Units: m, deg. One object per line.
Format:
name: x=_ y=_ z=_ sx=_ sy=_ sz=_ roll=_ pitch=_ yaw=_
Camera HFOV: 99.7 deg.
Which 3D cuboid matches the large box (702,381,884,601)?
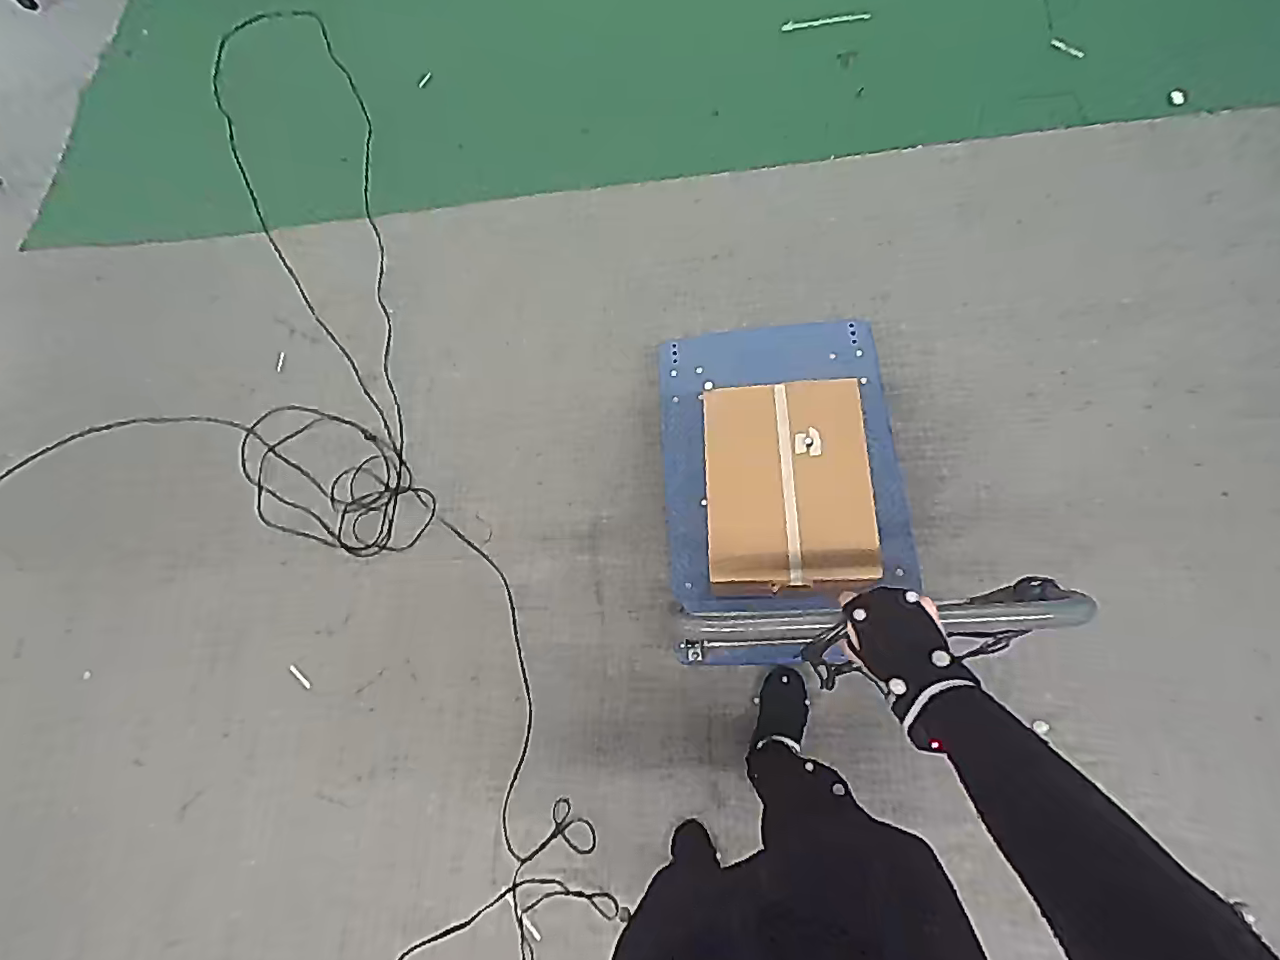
large box: x=0.309 y=0.044 z=1.187 sx=0.320 sy=0.320 sz=0.408 roll=-3 pitch=71 yaw=8
